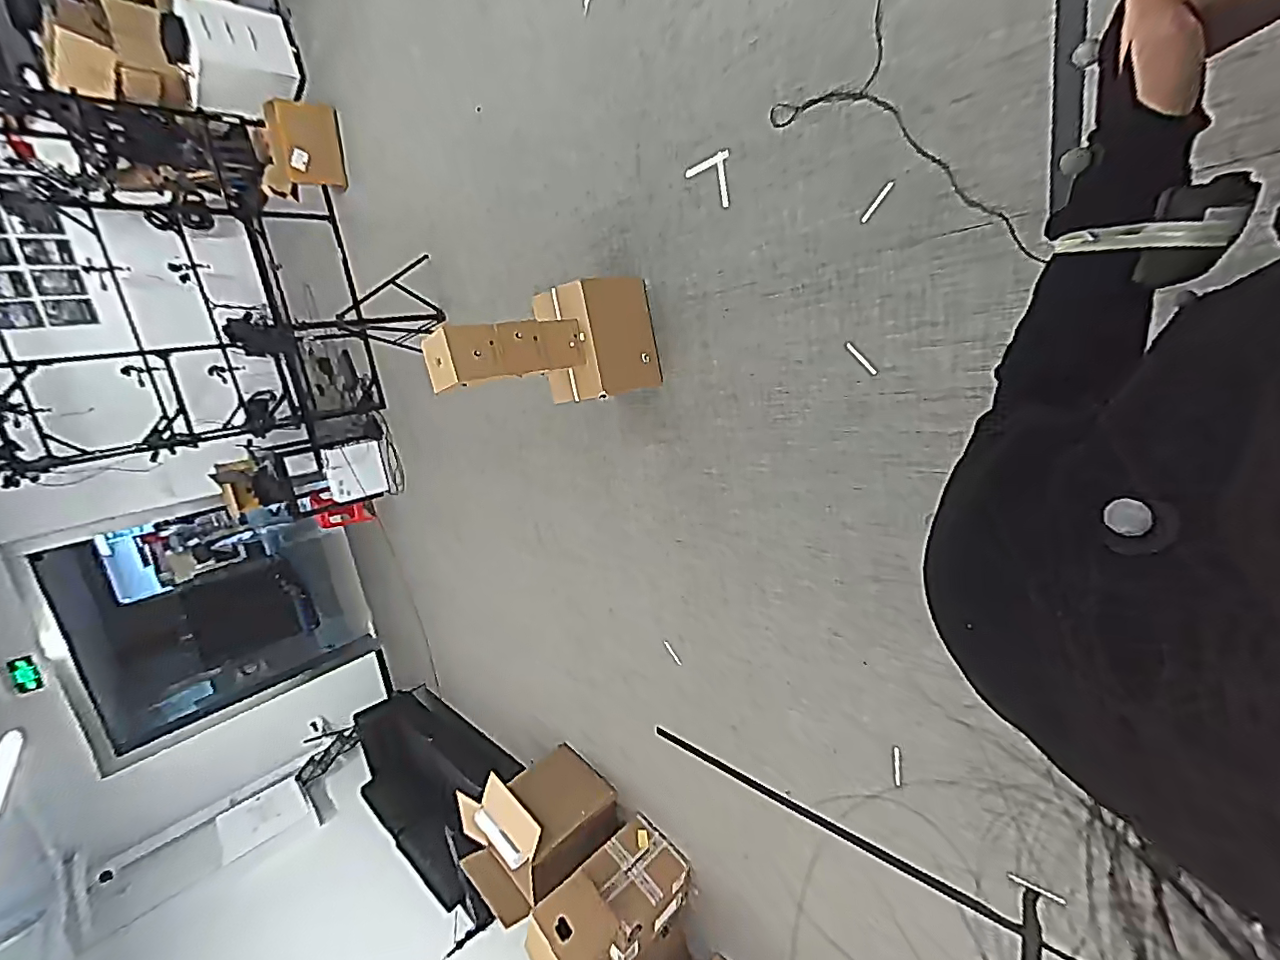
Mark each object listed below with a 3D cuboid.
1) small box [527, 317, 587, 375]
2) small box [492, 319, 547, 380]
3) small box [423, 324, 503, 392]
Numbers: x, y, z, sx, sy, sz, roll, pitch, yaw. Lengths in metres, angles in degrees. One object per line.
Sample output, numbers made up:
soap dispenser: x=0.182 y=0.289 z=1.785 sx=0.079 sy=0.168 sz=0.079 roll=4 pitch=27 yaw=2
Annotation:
small box: x=-0.313 y=-0.470 z=1.900 sx=0.179 sy=0.176 sz=0.168 roll=1 pitch=106 yaw=46
small box: x=-0.425 y=-0.430 z=1.789 sx=0.179 sy=0.176 sz=0.168 roll=-1 pitch=104 yaw=48
small box: x=-0.543 y=-0.382 z=1.684 sx=0.179 sy=0.176 sz=0.168 roll=-7 pitch=99 yaw=48
